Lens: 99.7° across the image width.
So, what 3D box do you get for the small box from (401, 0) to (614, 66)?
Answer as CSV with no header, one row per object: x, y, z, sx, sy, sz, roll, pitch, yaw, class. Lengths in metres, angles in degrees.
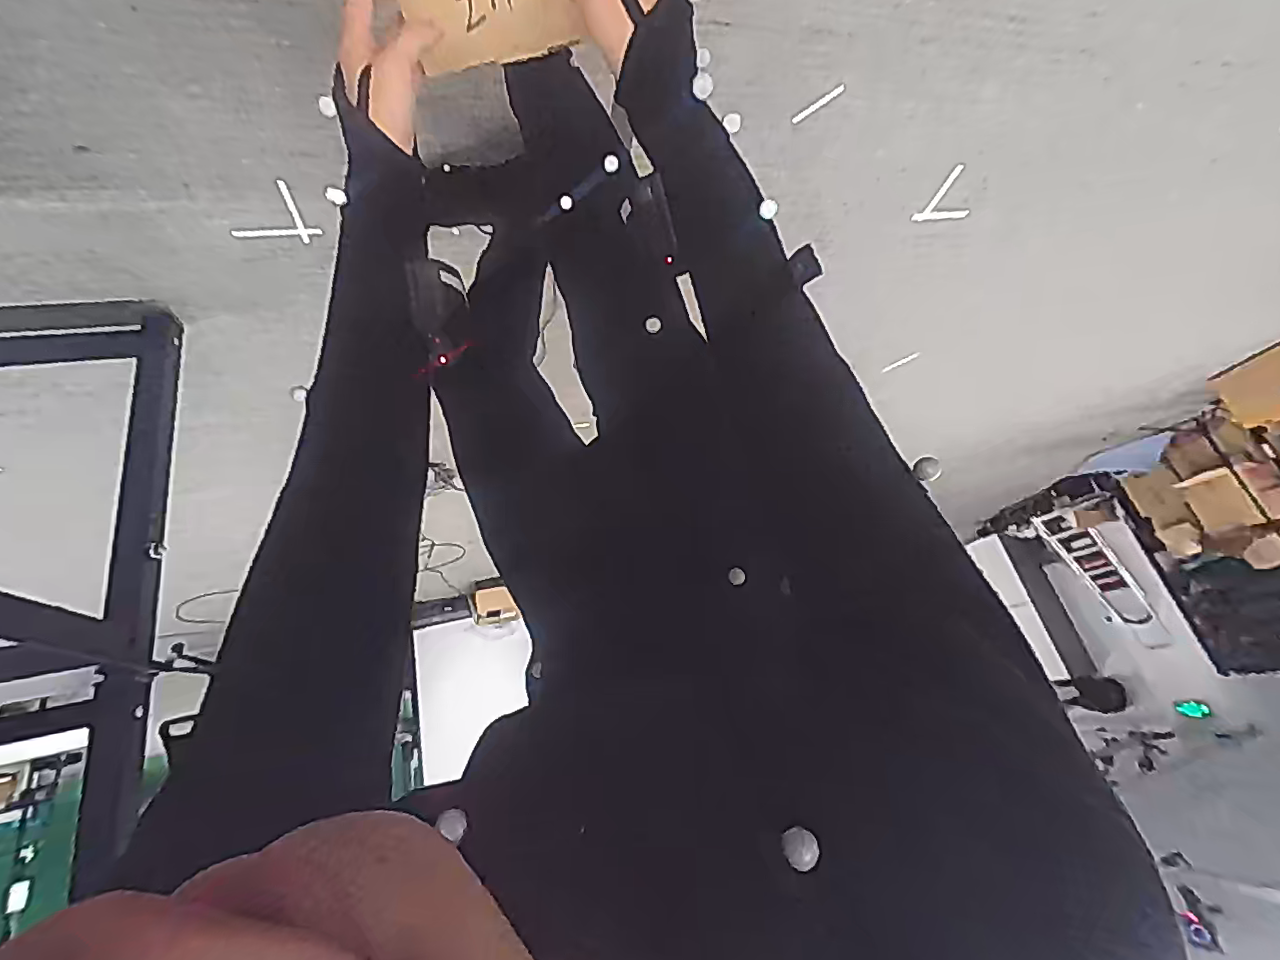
-0.126,-0.474,0.432,0.168,0.176,0.179,-13,143,-1,small box
